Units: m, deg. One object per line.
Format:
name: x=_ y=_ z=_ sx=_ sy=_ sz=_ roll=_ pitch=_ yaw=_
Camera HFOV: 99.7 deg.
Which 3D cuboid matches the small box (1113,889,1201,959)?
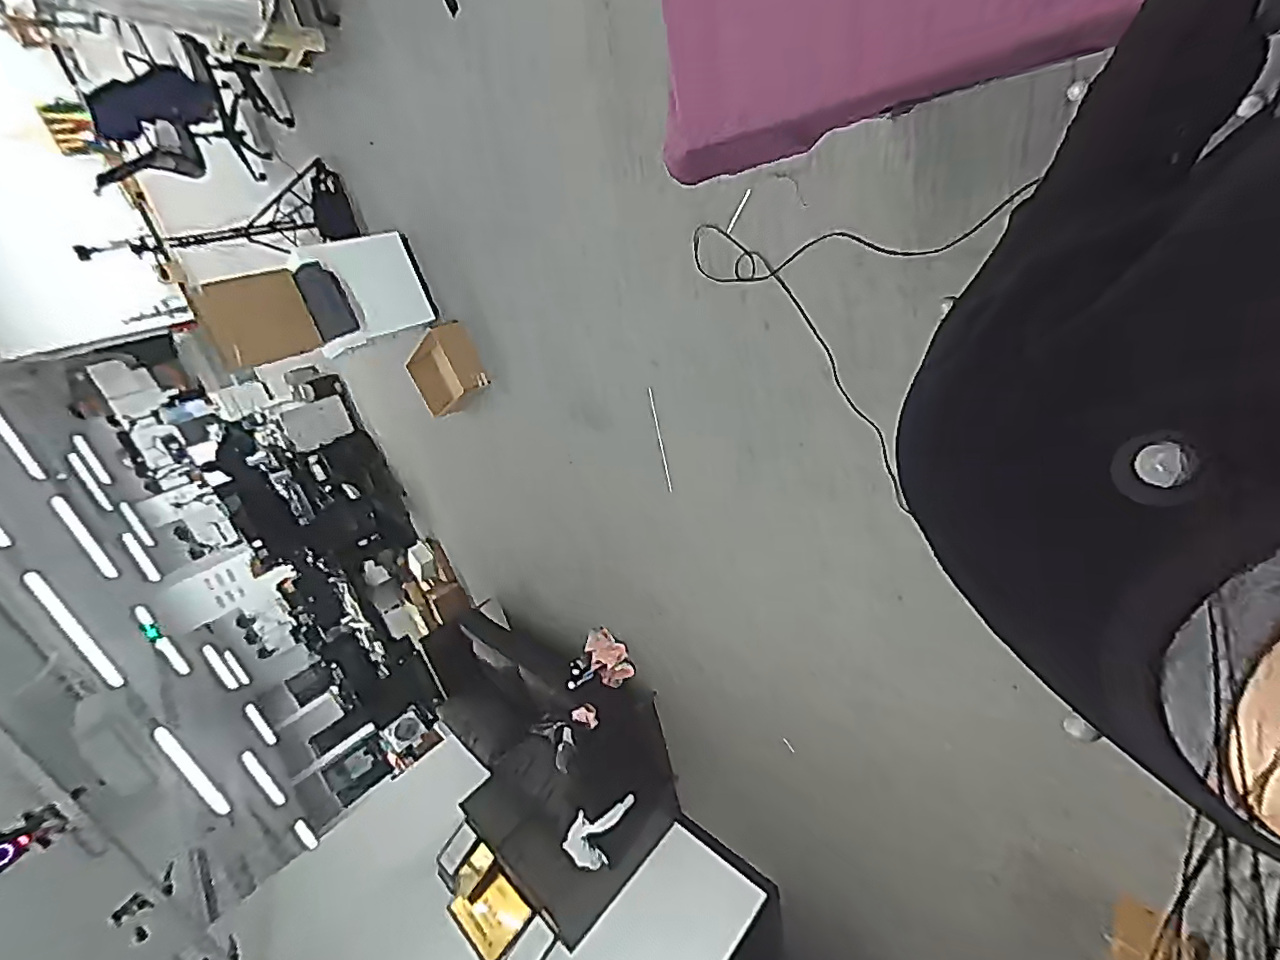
small box: x=1.584 y=1.421 z=1.655 sx=0.168 sy=0.176 sz=0.179 roll=13 pitch=125 yaw=44
